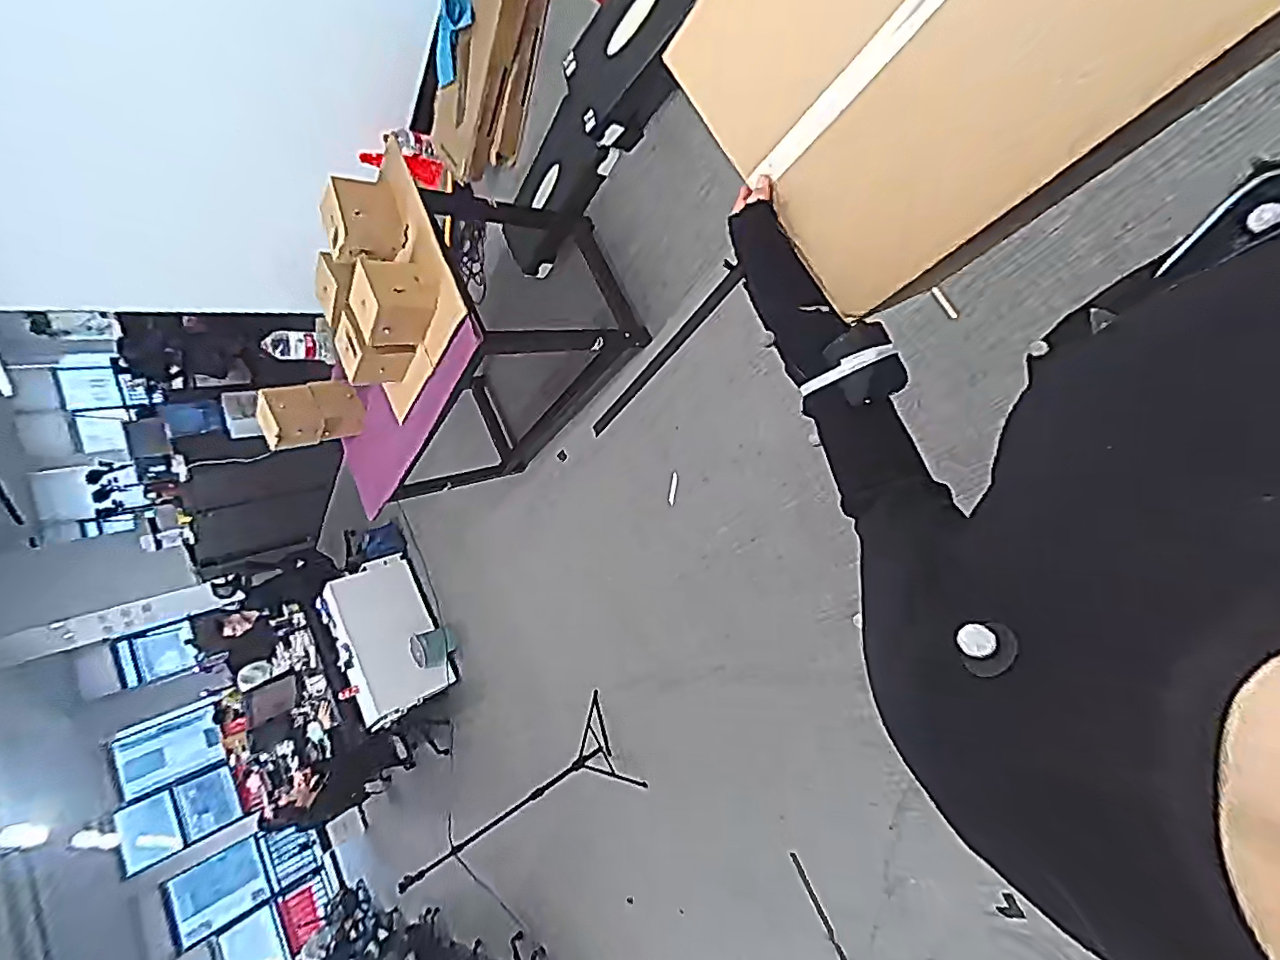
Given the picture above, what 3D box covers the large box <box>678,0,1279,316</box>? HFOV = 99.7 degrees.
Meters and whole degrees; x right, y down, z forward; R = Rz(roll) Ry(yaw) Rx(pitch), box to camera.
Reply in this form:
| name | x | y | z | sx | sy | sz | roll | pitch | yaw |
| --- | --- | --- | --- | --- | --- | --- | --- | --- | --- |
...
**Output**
| name | x | y | z | sx | sy | sz | roll | pitch | yaw |
| --- | --- | --- | --- | --- | --- | --- | --- | --- | --- |
| large box | 0.318 | -0.409 | 0.482 | 0.408 | 0.320 | 0.320 | -36 | 86 | 43 |
